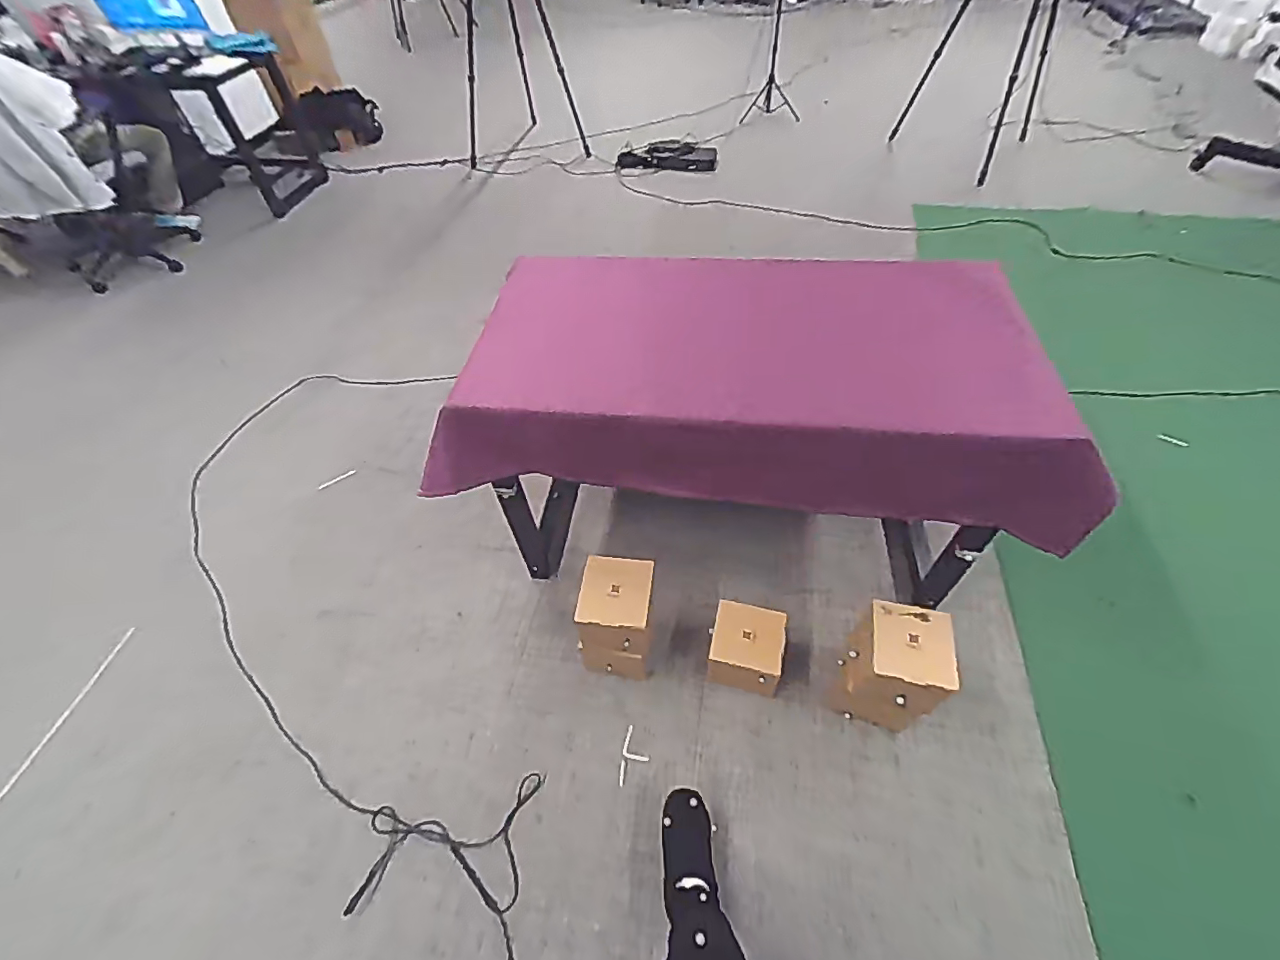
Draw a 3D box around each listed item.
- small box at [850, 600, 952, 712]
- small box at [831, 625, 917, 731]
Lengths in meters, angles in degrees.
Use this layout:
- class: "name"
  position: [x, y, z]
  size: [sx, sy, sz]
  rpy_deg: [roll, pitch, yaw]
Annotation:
- class: "small box"
  position: [0.577, 0.398, 1.212]
  size: [0.168, 0.176, 0.179]
  rpy_deg: [11, 53, 12]
- class: "small box"
  position: [0.583, 0.496, 1.345]
  size: [0.168, 0.176, 0.179]
  rpy_deg: [14, 52, 14]
